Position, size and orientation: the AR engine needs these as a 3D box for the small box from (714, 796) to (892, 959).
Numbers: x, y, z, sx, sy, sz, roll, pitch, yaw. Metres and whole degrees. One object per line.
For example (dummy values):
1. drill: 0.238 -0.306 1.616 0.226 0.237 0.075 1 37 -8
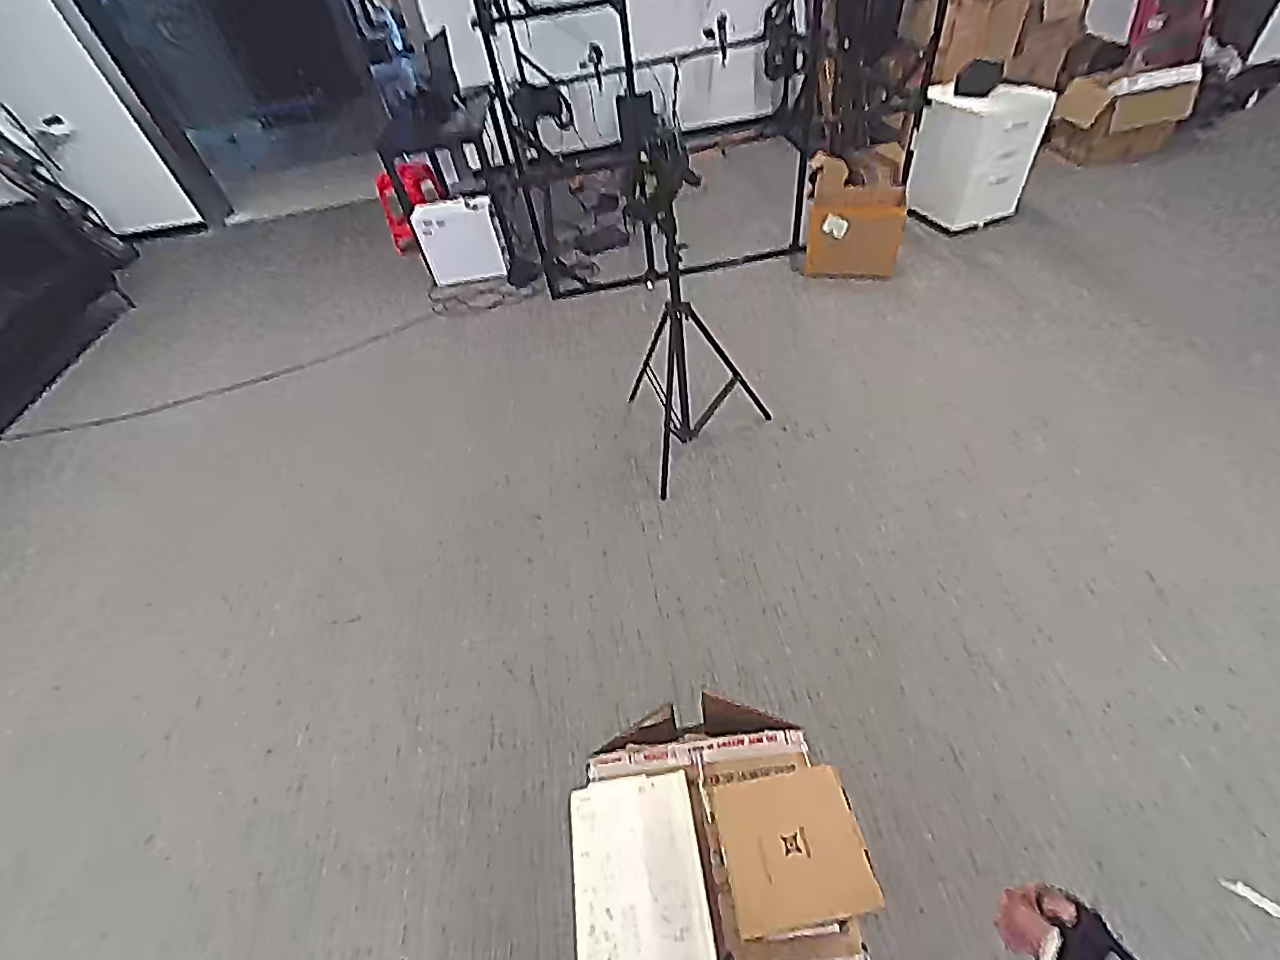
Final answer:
1. small box: 0.206 0.556 0.741 0.179 0.176 0.168 -11 48 -3
